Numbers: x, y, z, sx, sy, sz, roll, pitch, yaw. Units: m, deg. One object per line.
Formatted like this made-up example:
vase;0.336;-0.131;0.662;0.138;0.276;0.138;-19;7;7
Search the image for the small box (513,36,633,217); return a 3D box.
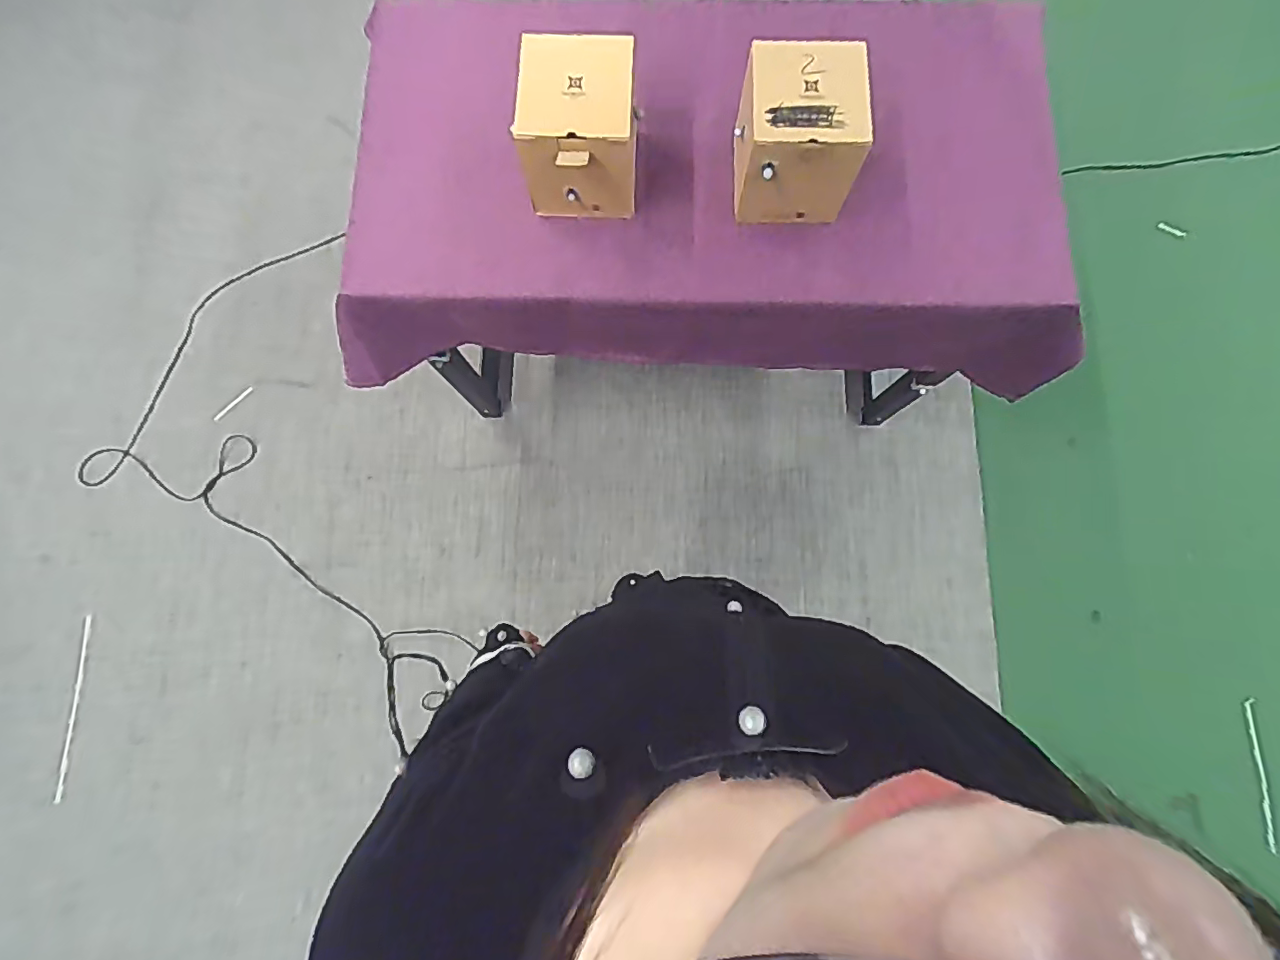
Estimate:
small box;-0.097;-0.553;0.861;0.168;0.176;0.179;2;80;1
